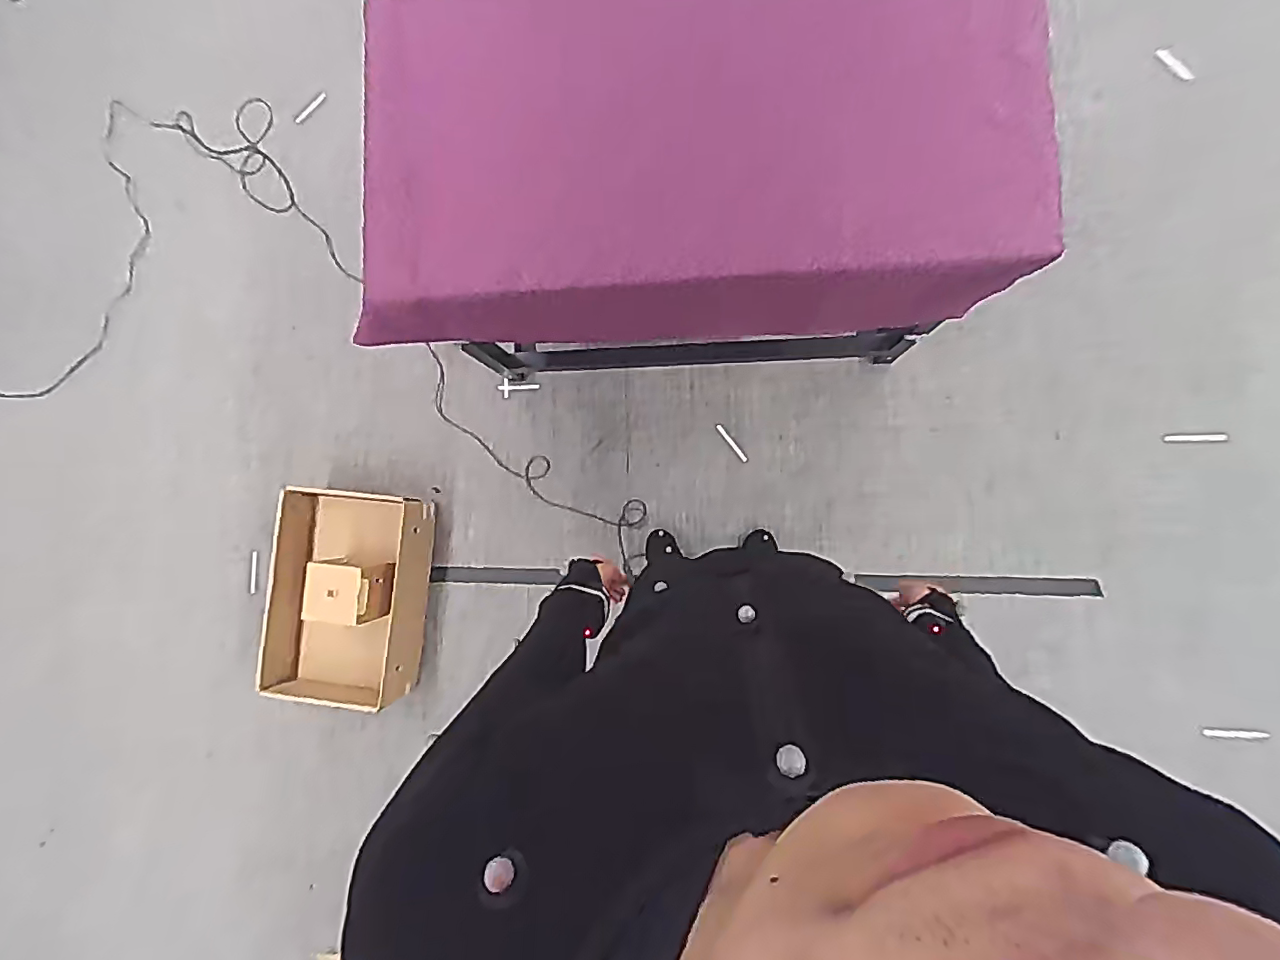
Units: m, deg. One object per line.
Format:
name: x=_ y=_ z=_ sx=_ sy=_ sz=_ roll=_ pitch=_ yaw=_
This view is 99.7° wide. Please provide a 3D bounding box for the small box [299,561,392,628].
small box: x=-0.870 y=0.335 z=1.615 sx=0.179 sy=0.176 sz=0.168 roll=5 pitch=87 yaw=7
